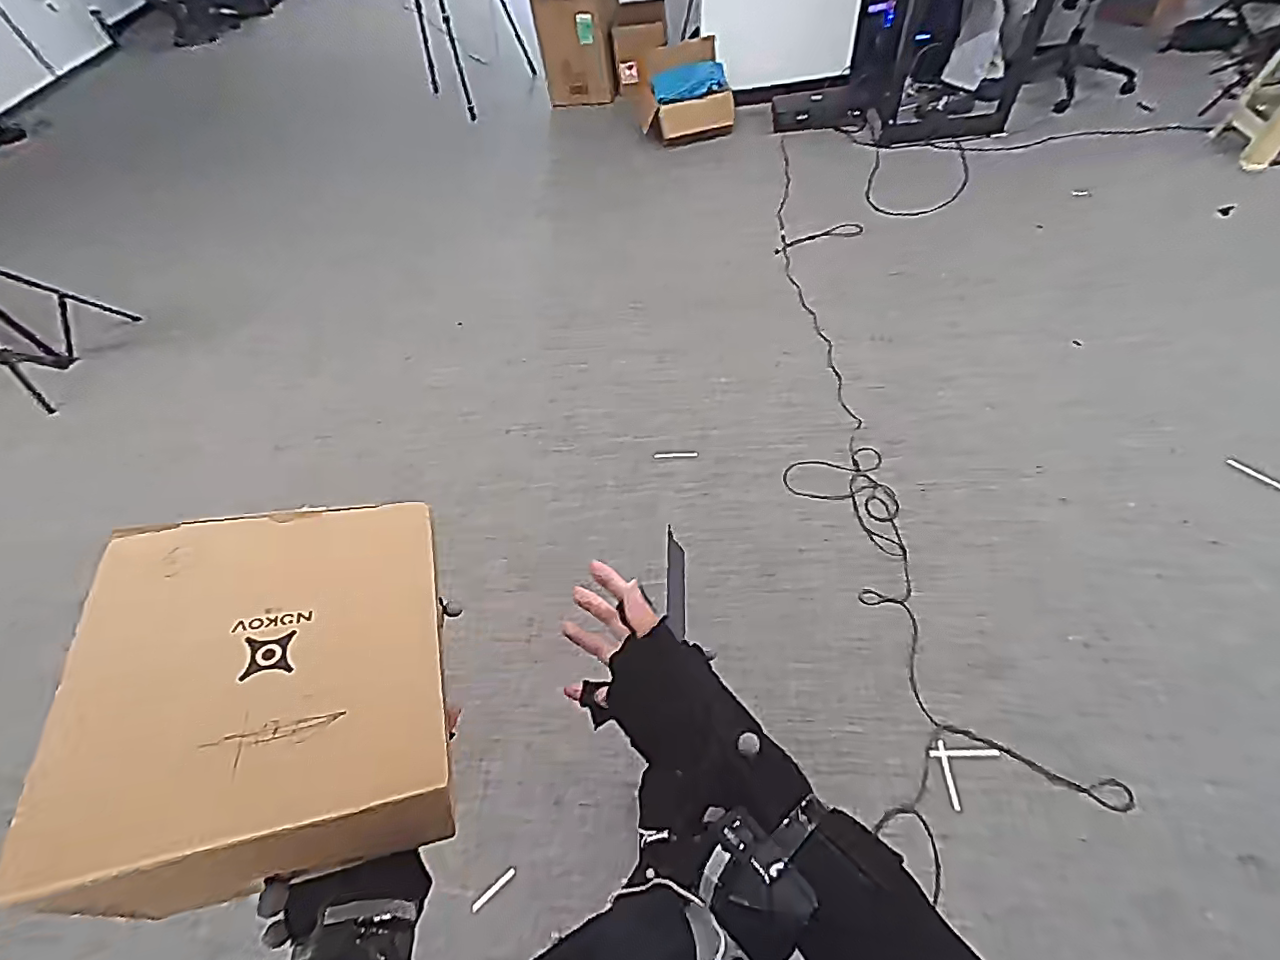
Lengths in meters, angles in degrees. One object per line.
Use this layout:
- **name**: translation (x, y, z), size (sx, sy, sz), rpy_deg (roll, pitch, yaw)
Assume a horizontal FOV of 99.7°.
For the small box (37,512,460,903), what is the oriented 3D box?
- **small box**: translation (-0.211, 0.143, 0.353), size (0.168, 0.176, 0.179), rpy_deg (-4, 52, -21)
